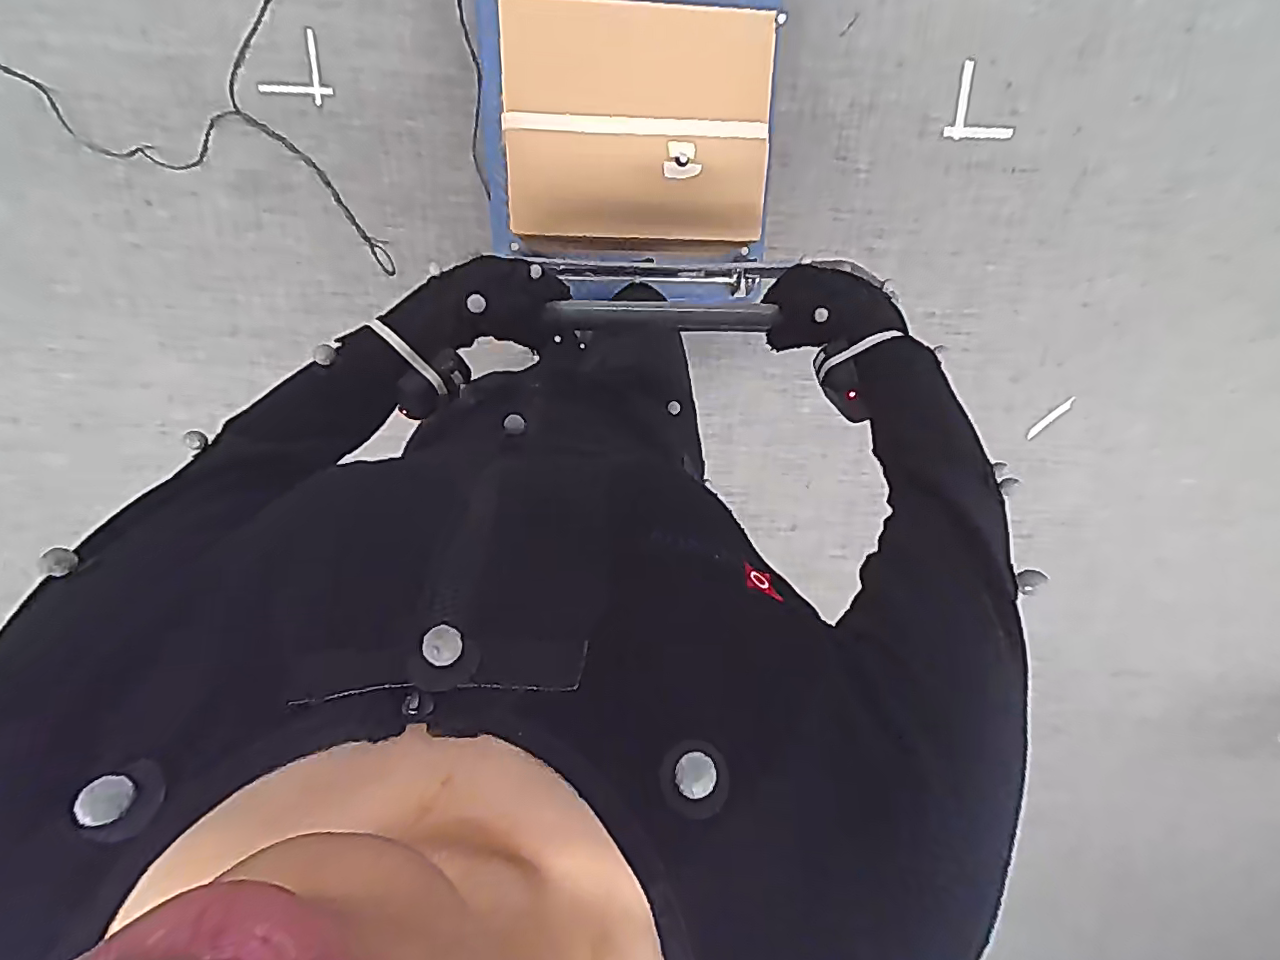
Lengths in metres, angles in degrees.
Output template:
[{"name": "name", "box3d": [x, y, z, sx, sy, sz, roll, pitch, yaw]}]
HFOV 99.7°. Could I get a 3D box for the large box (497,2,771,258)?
[{"name": "large box", "box3d": [-0.020, -0.575, 0.961, 0.408, 0.320, 0.320, -1, 109, -6]}]
